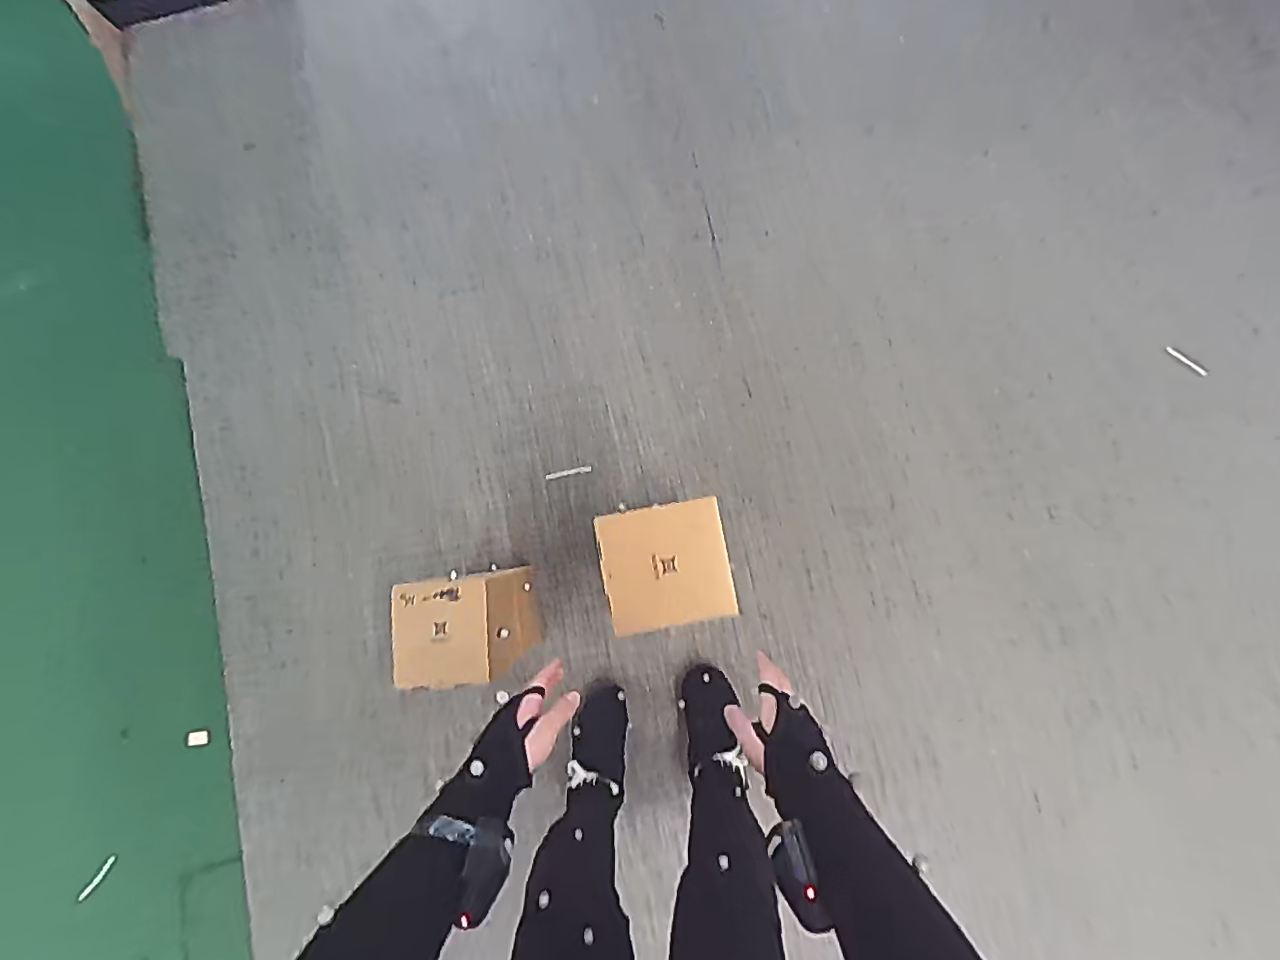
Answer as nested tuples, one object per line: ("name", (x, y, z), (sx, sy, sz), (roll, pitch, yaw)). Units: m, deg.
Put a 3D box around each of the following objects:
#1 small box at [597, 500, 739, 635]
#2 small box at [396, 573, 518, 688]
("small box", (0.040, 0.127, 0.828), (0.179, 0.176, 0.168), (-11, 83, 2))
("small box", (-0.328, 0.269, 0.995), (0.168, 0.176, 0.179), (-4, 84, 2))
